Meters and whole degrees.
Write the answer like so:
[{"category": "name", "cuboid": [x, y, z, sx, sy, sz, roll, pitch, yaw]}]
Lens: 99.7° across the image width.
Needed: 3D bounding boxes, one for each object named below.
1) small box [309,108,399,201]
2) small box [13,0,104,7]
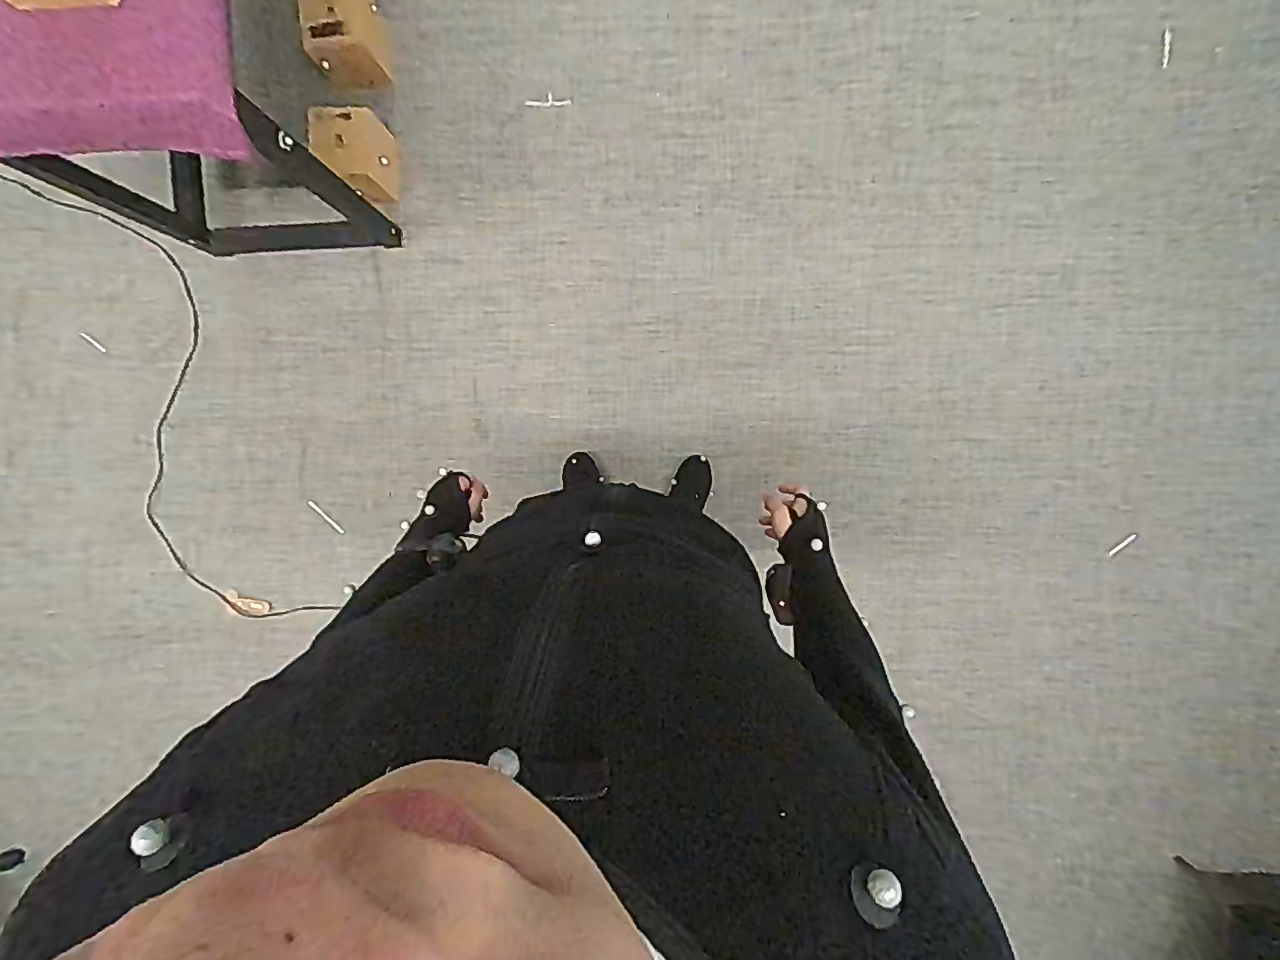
[{"category": "small box", "cuboid": [-0.792, -0.899, 1.510, 0.168, 0.176, 0.179, 1, 95, 2]}, {"category": "small box", "cuboid": [-0.928, -0.843, 0.791, 0.179, 0.176, 0.168, 0, 94, 3]}]
